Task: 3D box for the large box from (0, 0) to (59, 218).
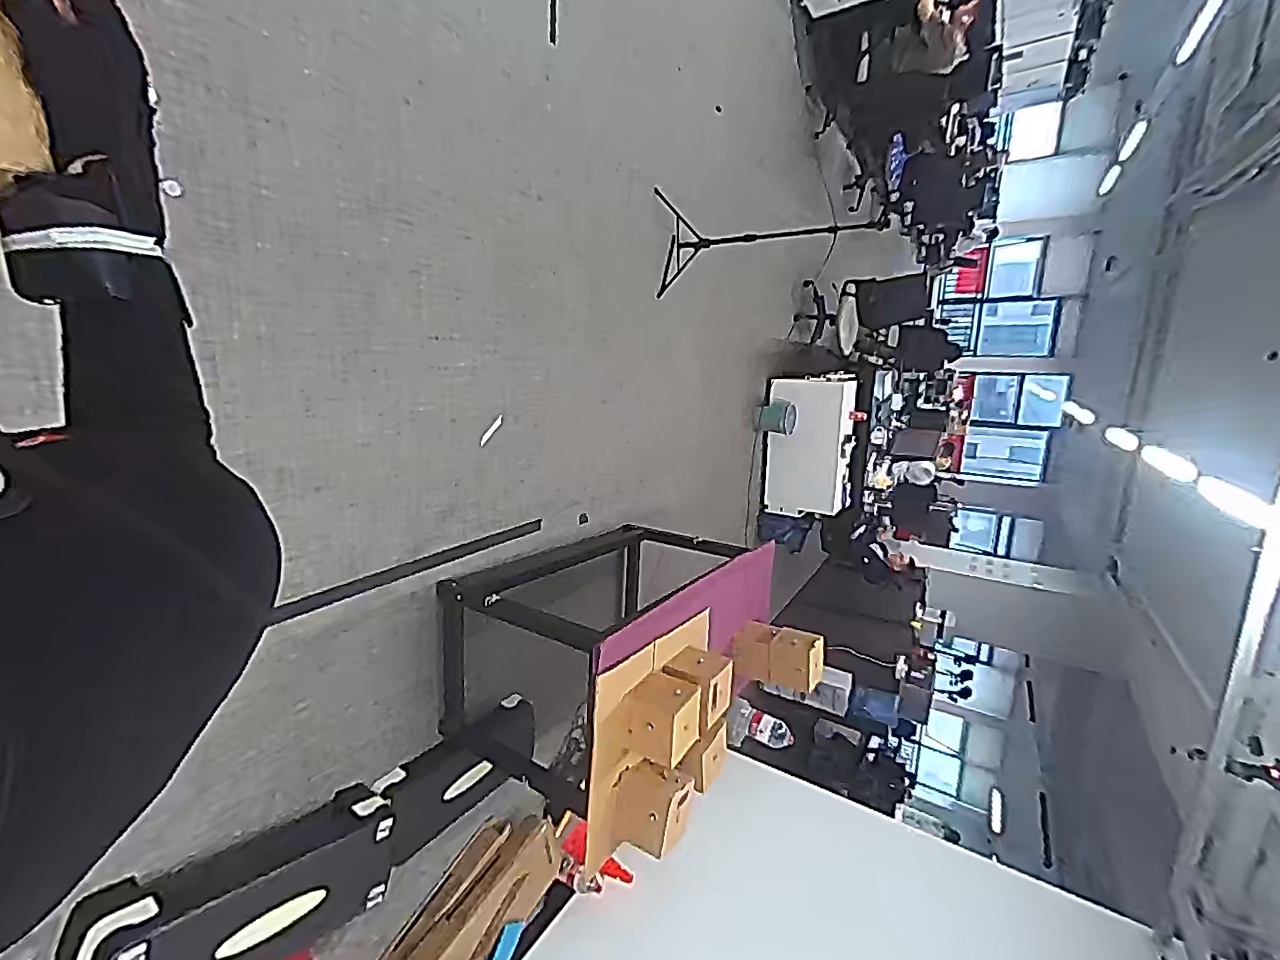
[{"bbox_3d":[-0.636,-0.320,0.250,0.408,0.320,0.320,-22,119,-58],"label":"large box"}]
